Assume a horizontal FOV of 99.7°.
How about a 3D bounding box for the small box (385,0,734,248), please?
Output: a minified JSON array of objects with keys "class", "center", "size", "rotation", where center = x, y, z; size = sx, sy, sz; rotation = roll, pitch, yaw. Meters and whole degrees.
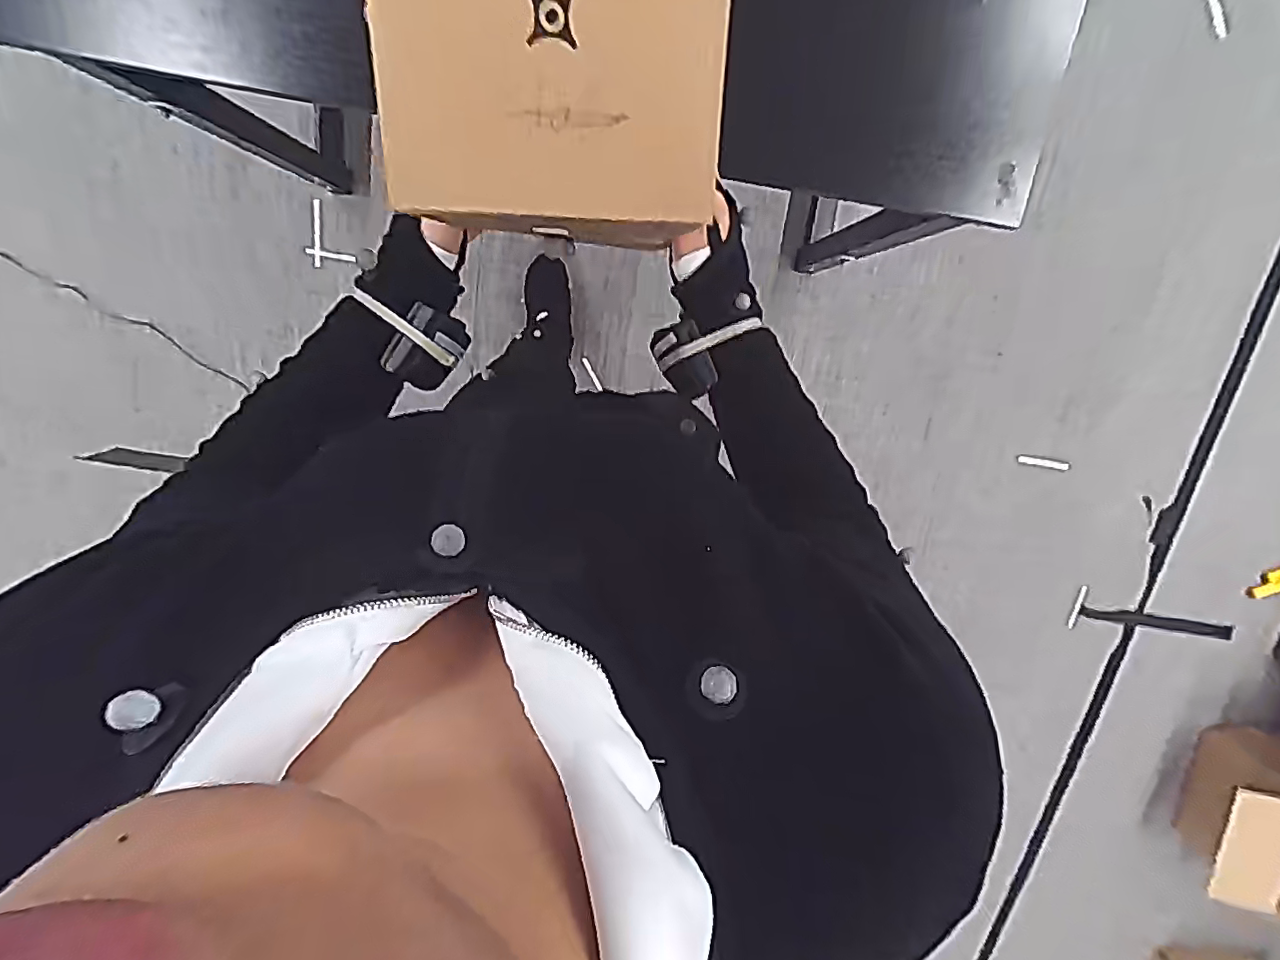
[{"class":"small box","center":[-0.042,-0.245,0.333],"size":[0.168,0.176,0.179],"rotation":[1,112,-3]}]
